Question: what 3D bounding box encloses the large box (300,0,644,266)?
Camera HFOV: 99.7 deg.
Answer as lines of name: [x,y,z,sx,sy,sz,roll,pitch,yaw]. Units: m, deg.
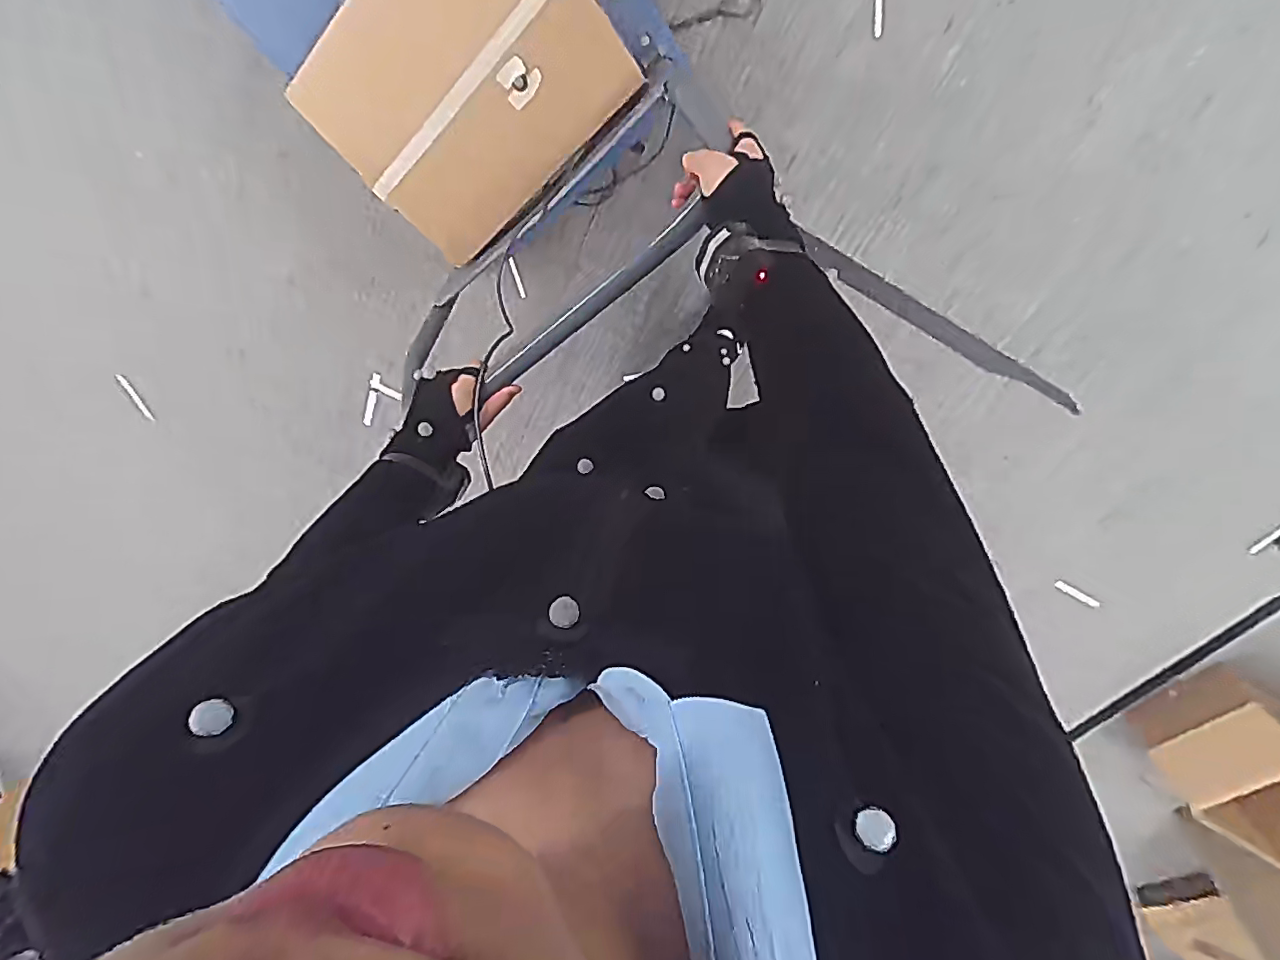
large box: [-0.241,-0.638,0.878,0.408,0.320,0.320,-34,122,22]
